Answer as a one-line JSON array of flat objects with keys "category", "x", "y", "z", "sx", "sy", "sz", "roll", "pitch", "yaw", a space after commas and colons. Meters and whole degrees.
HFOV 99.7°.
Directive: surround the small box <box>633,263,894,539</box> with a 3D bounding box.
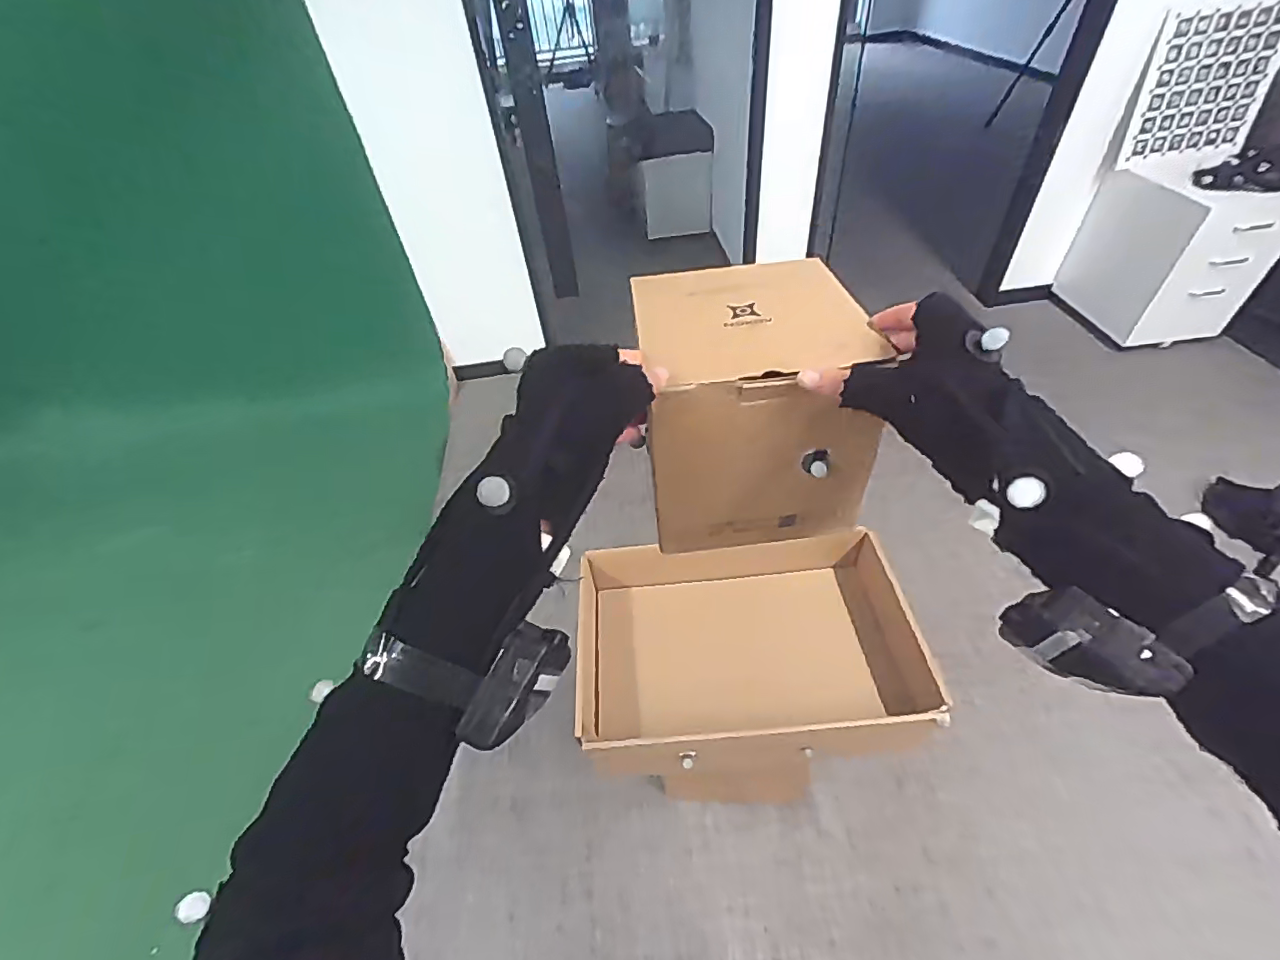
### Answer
[{"category": "small box", "x": 0.087, "y": -0.063, "z": 0.464, "sx": 0.168, "sy": 0.176, "sz": 0.179, "roll": -6, "pitch": 42, "yaw": -1}]
